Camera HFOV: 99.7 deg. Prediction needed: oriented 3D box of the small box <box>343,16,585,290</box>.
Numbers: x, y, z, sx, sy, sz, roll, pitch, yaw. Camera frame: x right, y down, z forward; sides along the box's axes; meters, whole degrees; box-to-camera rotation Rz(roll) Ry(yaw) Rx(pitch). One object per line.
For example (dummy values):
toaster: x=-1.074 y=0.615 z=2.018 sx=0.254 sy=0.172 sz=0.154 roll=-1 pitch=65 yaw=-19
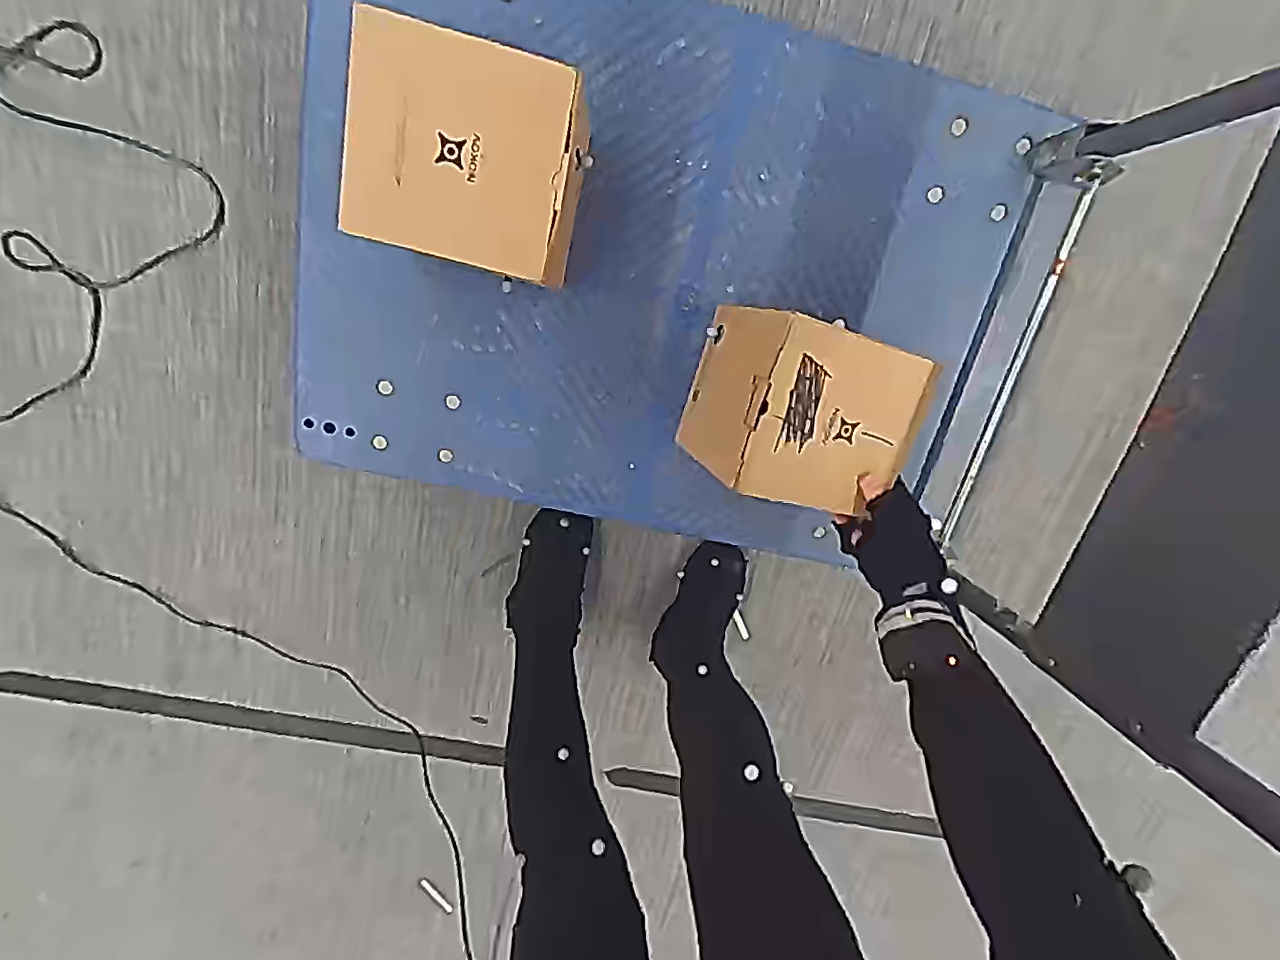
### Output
small box: x=-0.153 y=-0.286 z=0.522 sx=0.179 sy=0.176 sz=0.168 roll=12 pitch=105 yaw=-6

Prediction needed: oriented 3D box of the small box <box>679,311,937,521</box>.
small box: x=0.162 y=-0.076 z=0.581 sx=0.179 sy=0.176 sz=0.168 roll=13 pitch=106 yaw=-21
